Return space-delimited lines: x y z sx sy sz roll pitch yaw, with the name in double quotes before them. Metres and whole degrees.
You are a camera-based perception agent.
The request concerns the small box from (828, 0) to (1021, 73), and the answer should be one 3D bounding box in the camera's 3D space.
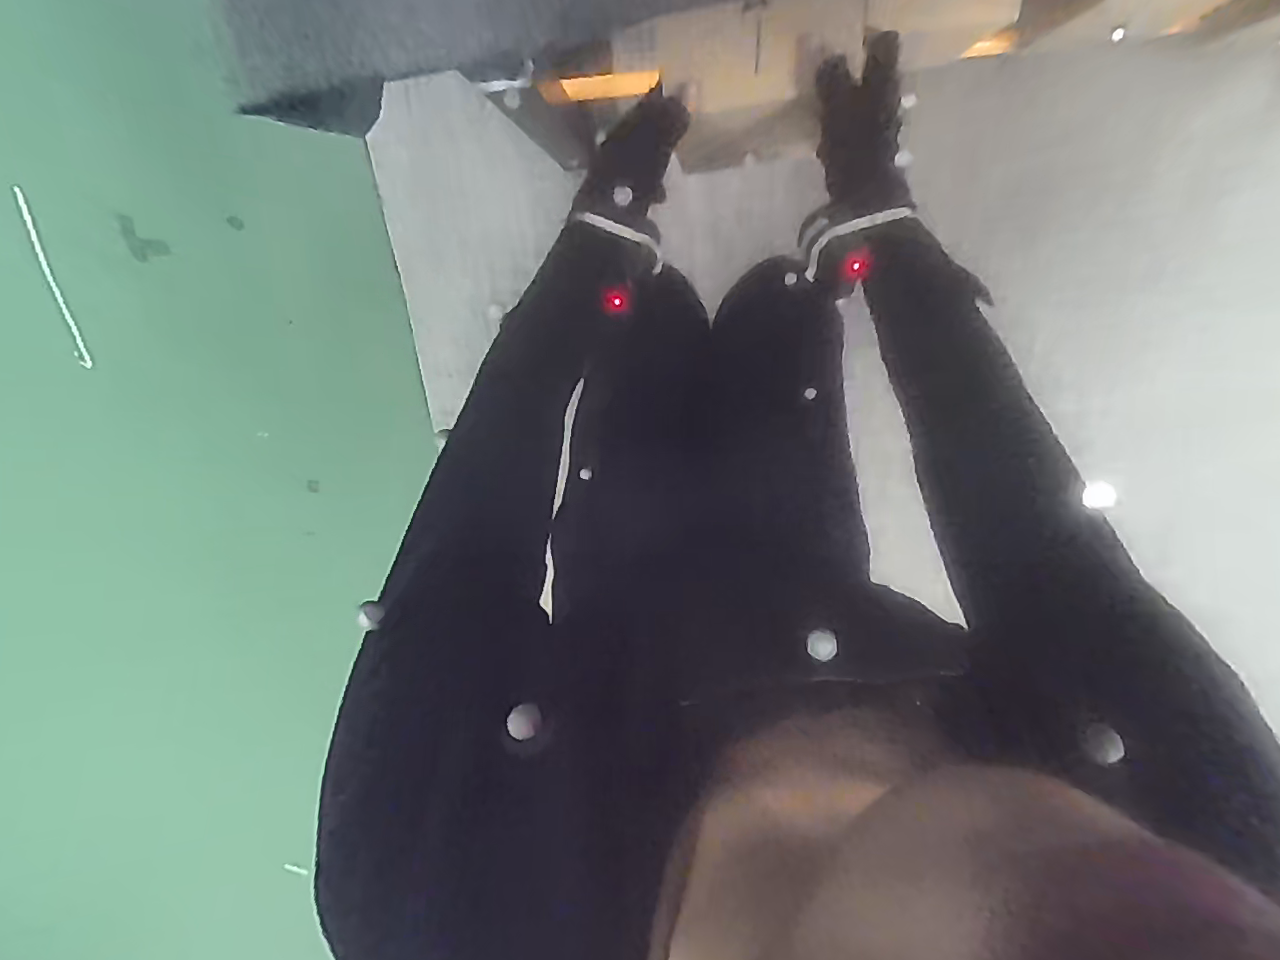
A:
"small box" 0.327 -0.604 0.632 0.168 0.176 0.179 -3 112 4
